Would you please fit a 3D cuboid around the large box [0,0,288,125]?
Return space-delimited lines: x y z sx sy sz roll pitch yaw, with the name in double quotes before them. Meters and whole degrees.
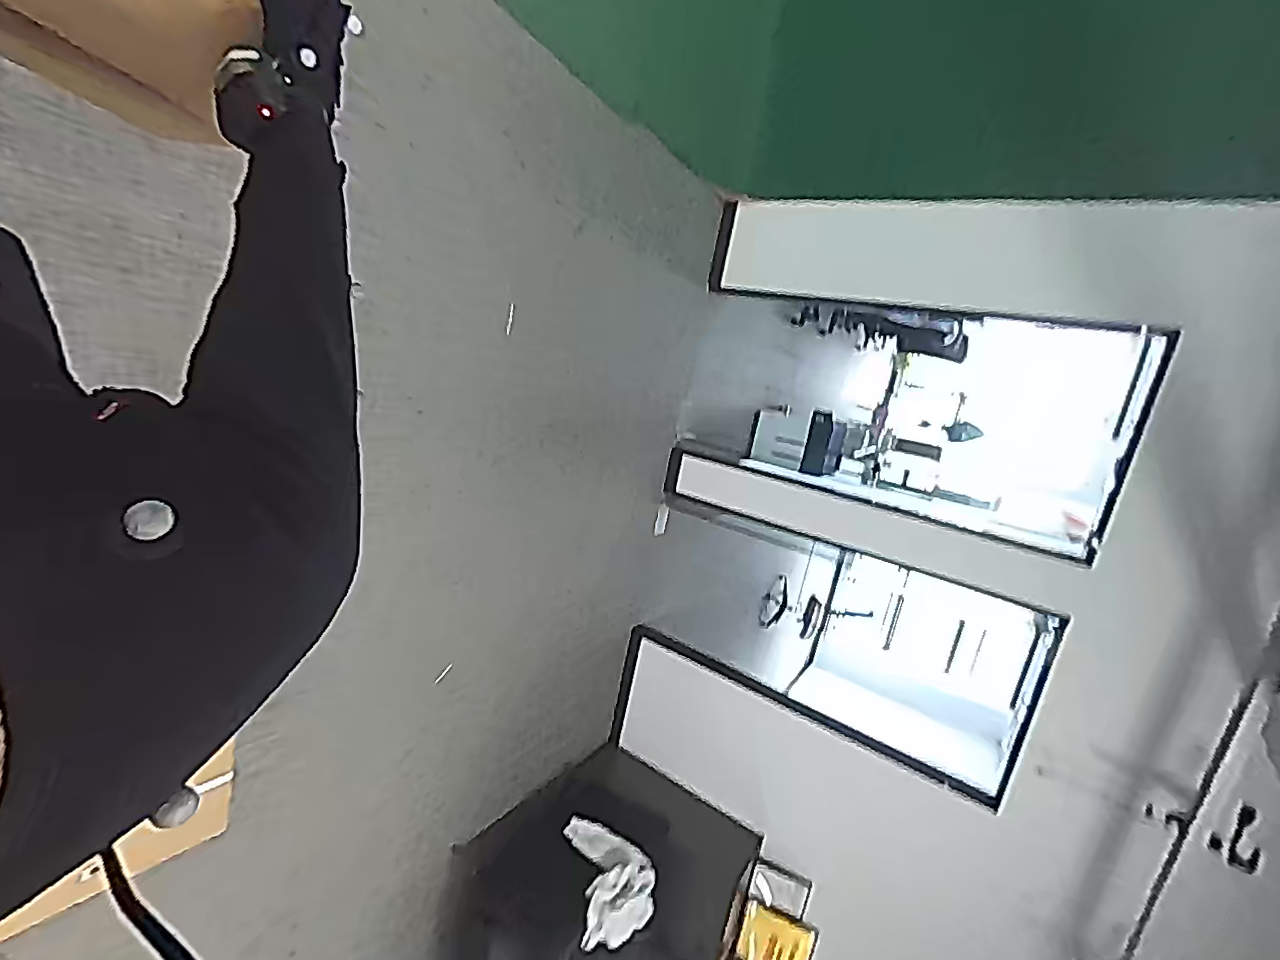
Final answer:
"large box" -0.533 -0.549 0.412 0.408 0.320 0.320 12 102 -57
